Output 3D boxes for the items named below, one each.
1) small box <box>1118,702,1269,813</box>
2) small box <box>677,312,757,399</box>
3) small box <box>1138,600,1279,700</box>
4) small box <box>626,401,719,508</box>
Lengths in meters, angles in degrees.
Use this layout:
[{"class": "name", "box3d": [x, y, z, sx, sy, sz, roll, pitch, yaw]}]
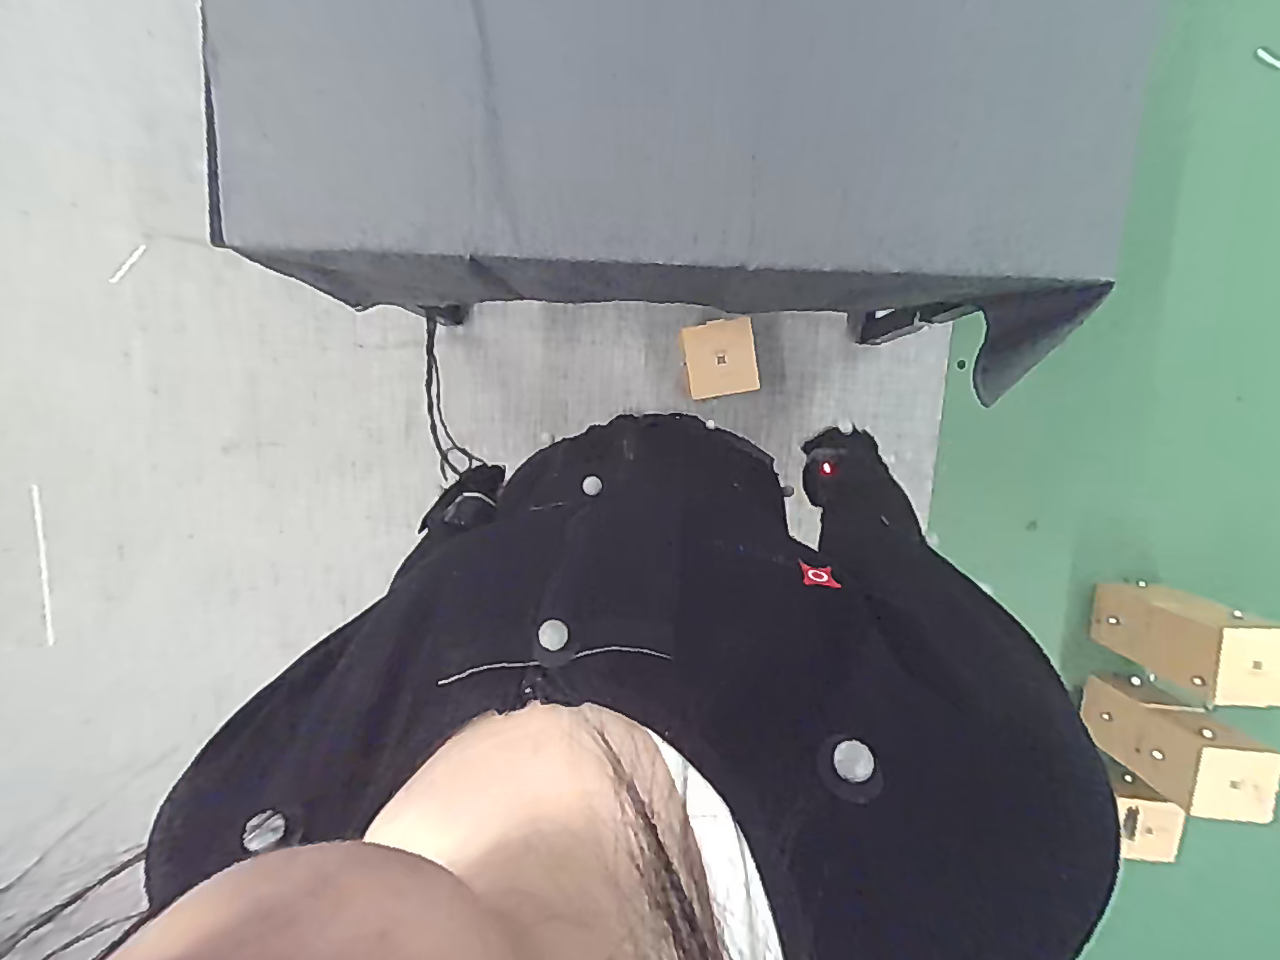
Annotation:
[{"class": "small box", "box3d": [1.299, 0.650, 1.284, 0.179, 0.176, 0.168, 4, 98, 1]}, {"class": "small box", "box3d": [0.188, -0.306, 1.360, 0.168, 0.176, 0.179, -9, 96, 3]}, {"class": "small box", "box3d": [1.312, 0.385, 1.252, 0.168, 0.176, 0.179, 1, 97, 1]}, {"class": "small box", "box3d": [0.081, -0.063, 1.400, 0.179, 0.176, 0.168, -38, 65, -16]}]
